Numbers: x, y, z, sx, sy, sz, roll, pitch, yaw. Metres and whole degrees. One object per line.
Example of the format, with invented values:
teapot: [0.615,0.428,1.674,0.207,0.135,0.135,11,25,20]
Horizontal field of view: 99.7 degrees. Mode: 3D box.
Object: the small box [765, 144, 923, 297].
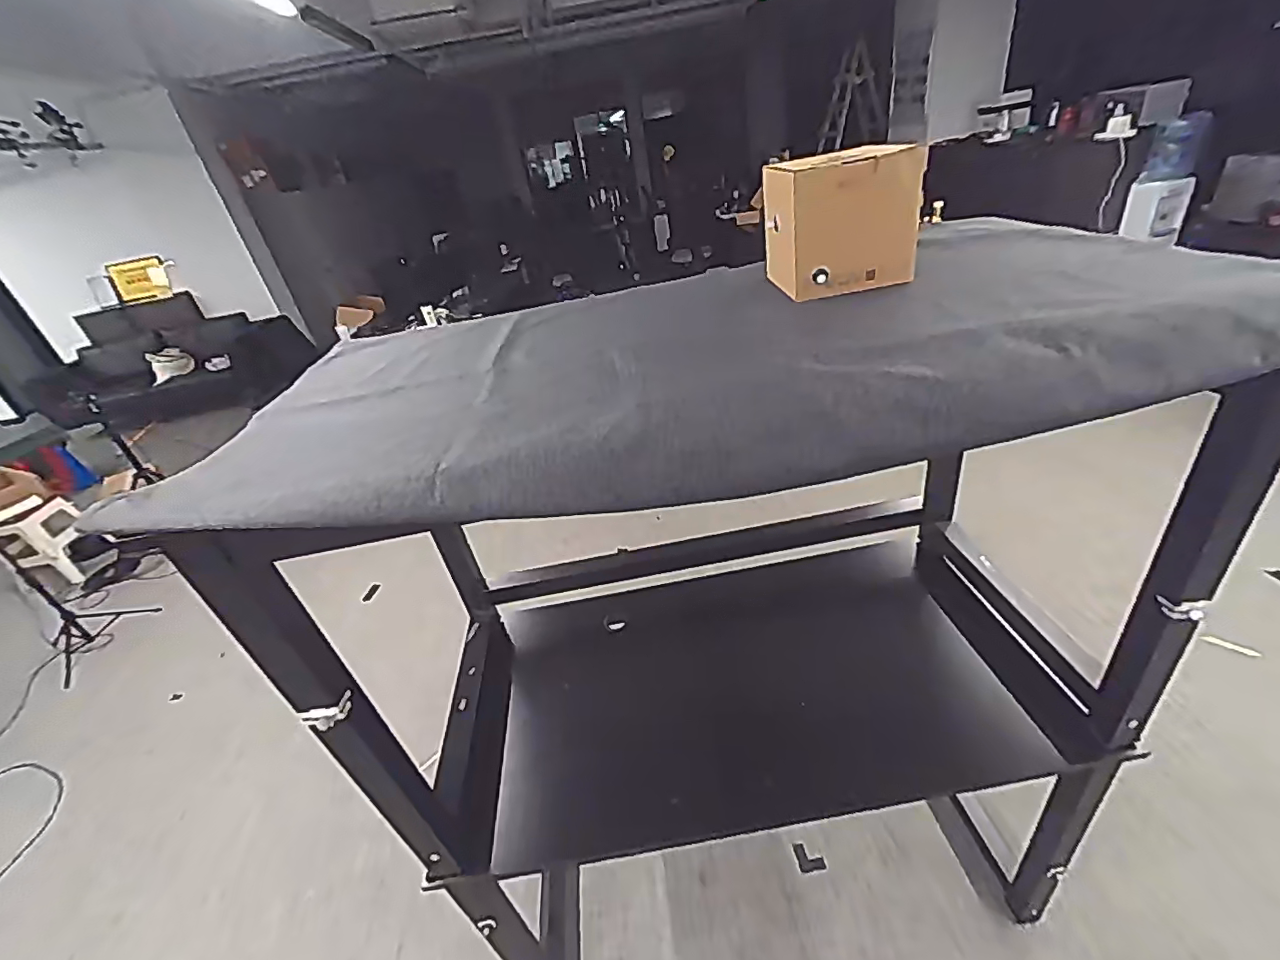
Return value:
small box: [0.286,-0.374,0.788,0.168,0.176,0.179,-9,31,3]
